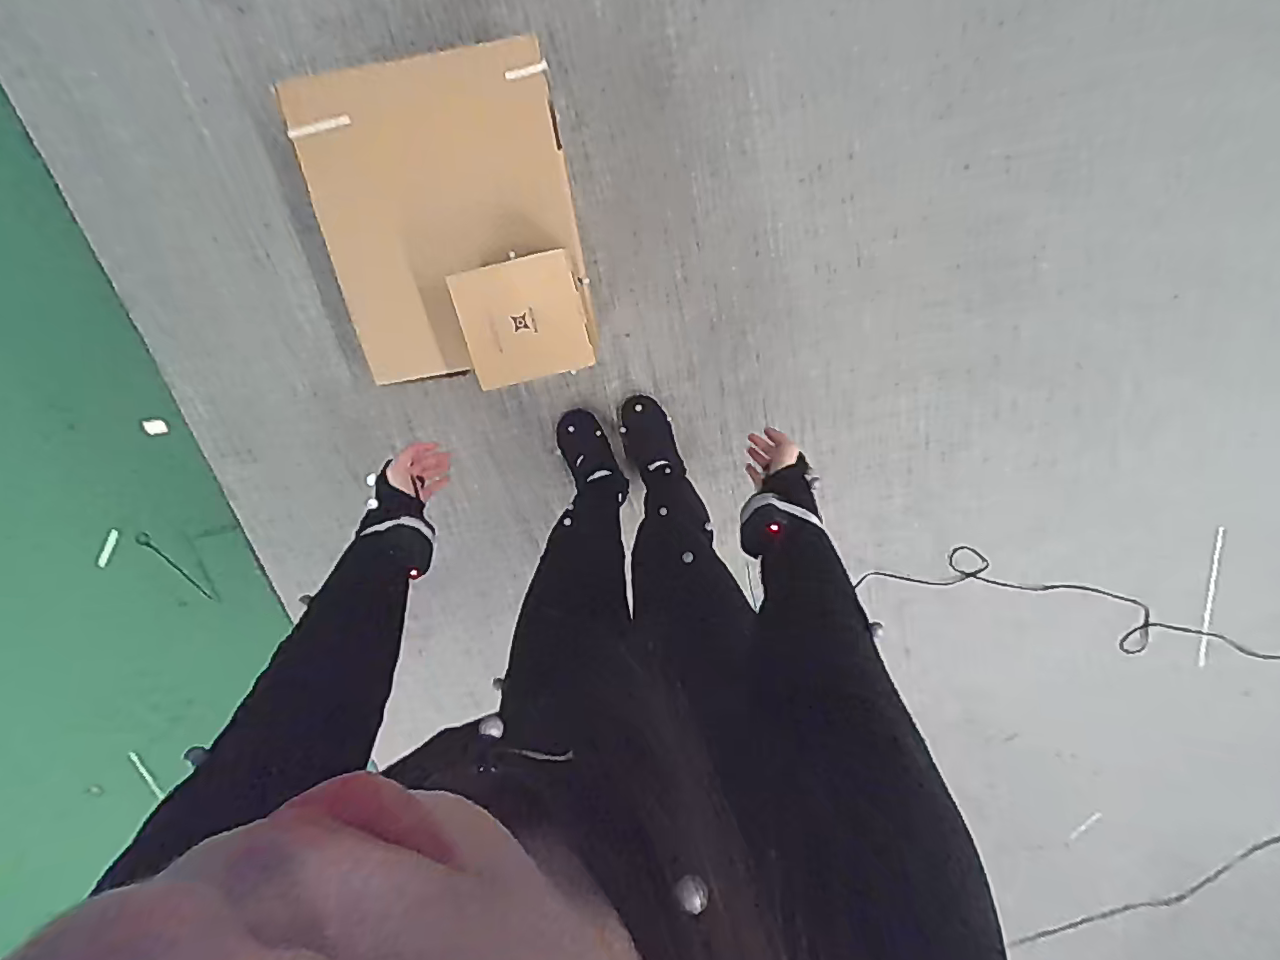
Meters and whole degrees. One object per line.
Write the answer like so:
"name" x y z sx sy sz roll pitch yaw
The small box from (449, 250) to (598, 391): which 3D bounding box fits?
"small box" -0.168 -0.251 0.841 0.179 0.176 0.168 -13 109 2
